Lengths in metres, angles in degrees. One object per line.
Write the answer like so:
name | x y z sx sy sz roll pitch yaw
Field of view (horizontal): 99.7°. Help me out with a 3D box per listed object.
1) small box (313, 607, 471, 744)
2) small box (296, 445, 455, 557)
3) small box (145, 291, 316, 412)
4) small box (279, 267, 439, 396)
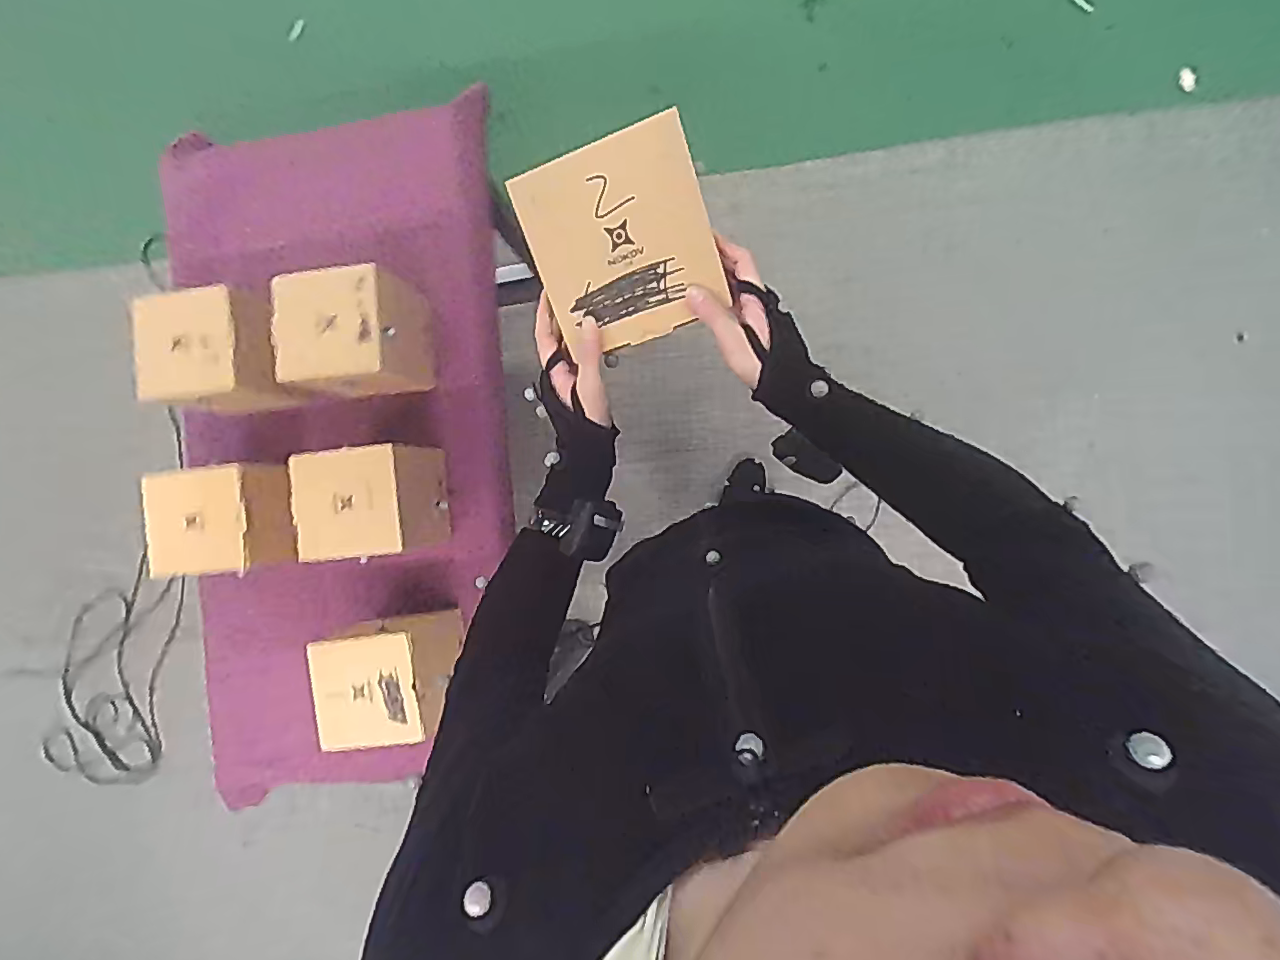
small box | -0.402 0.318 0.908 0.179 0.176 0.168 -9 88 10
small box | -0.439 0.035 0.917 0.179 0.176 0.168 -6 90 8
small box | -0.713 -0.217 0.955 0.179 0.176 0.168 -5 90 8
small box | -0.468 -0.241 0.919 0.179 0.176 0.168 -4 90 9
